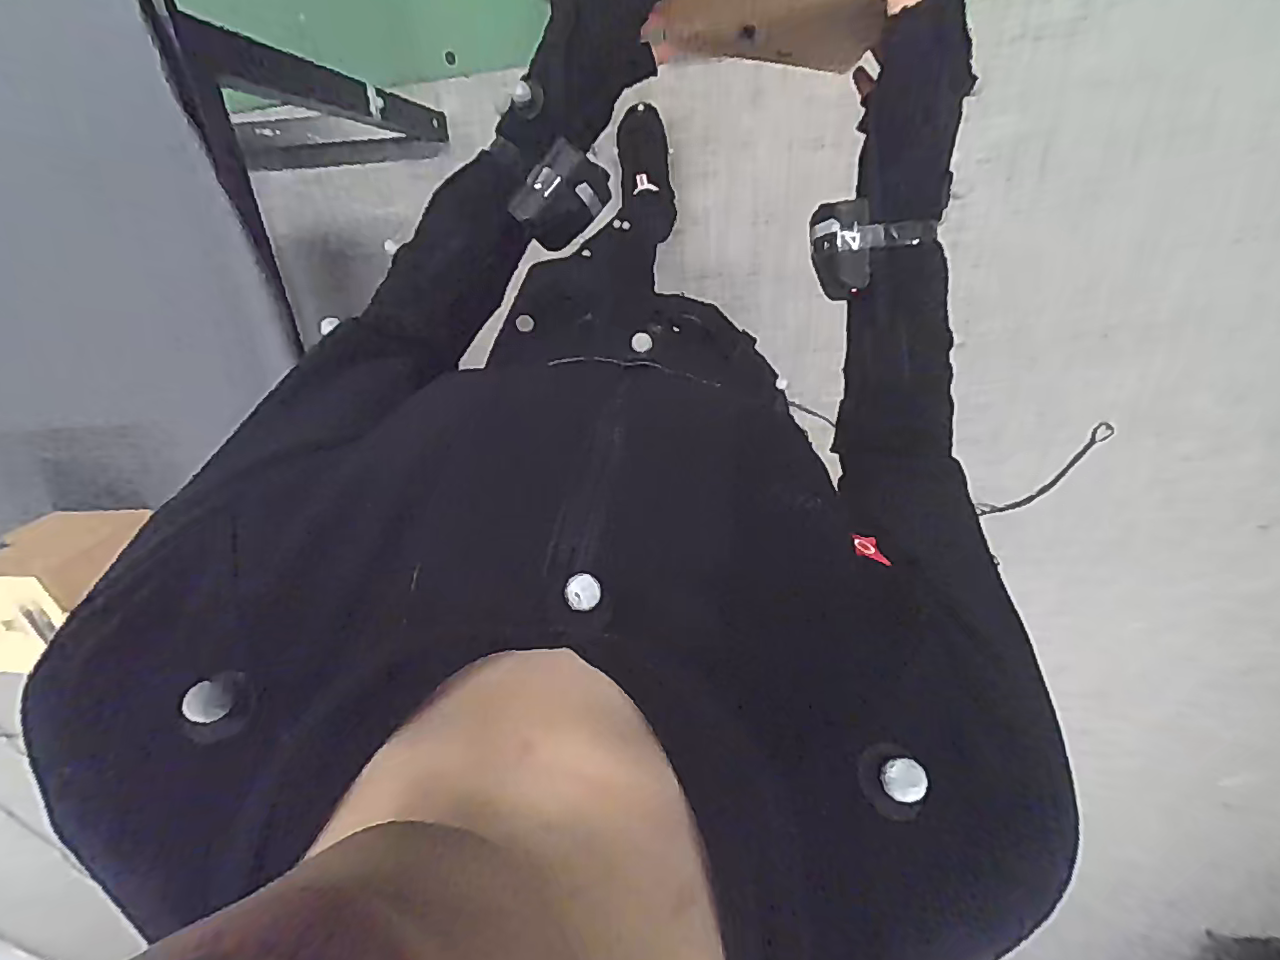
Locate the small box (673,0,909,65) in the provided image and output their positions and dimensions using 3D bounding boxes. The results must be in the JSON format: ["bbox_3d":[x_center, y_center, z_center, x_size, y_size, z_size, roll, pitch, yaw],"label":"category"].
[{"bbox_3d":[0.112,-0.425,0.370,0.168,0.176,0.179,9,114,1],"label":"small box"}]
